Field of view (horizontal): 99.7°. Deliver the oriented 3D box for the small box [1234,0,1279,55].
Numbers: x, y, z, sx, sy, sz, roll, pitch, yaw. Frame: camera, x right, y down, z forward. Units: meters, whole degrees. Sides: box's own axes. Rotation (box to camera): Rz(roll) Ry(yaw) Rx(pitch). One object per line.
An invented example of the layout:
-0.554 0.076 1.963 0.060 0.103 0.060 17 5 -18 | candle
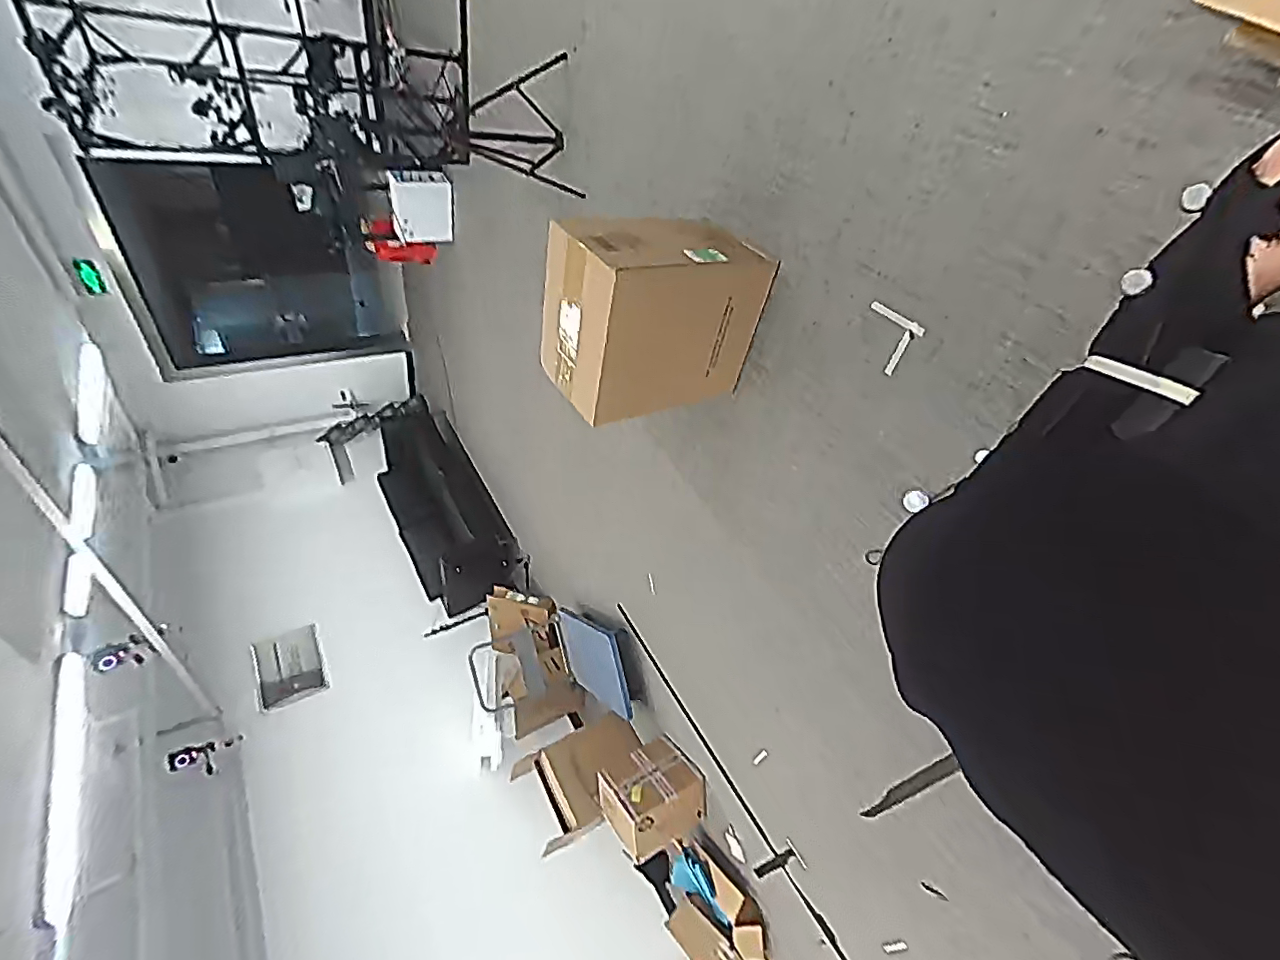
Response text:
0.965 -0.651 0.705 0.168 0.176 0.179 58 148 28 | small box
